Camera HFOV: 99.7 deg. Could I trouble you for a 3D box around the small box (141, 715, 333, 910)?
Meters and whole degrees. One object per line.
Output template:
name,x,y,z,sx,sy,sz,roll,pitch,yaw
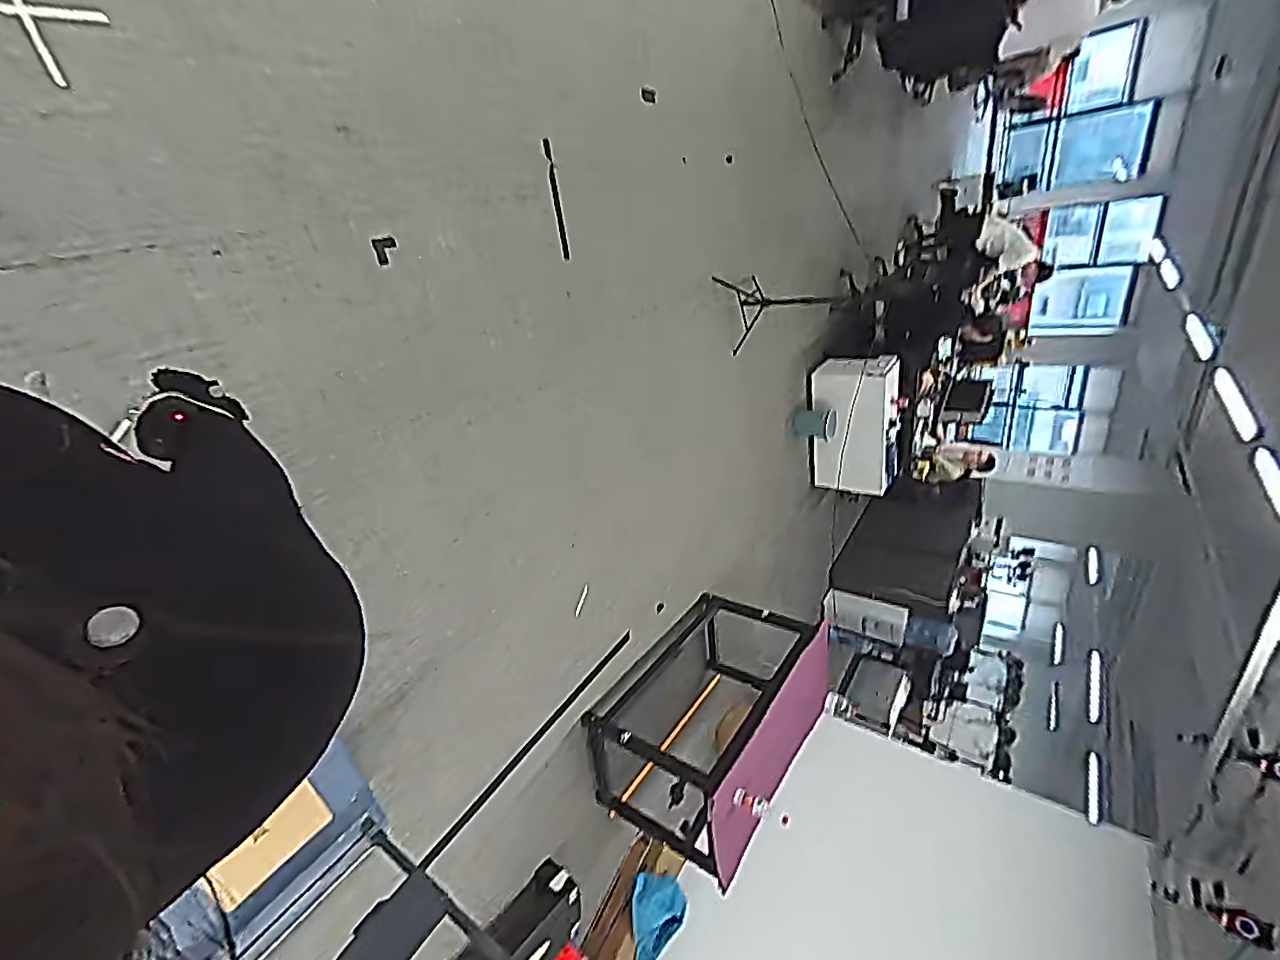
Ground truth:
small box,-0.639,0.516,0.863,0.168,0.176,0.179,-38,128,-42
